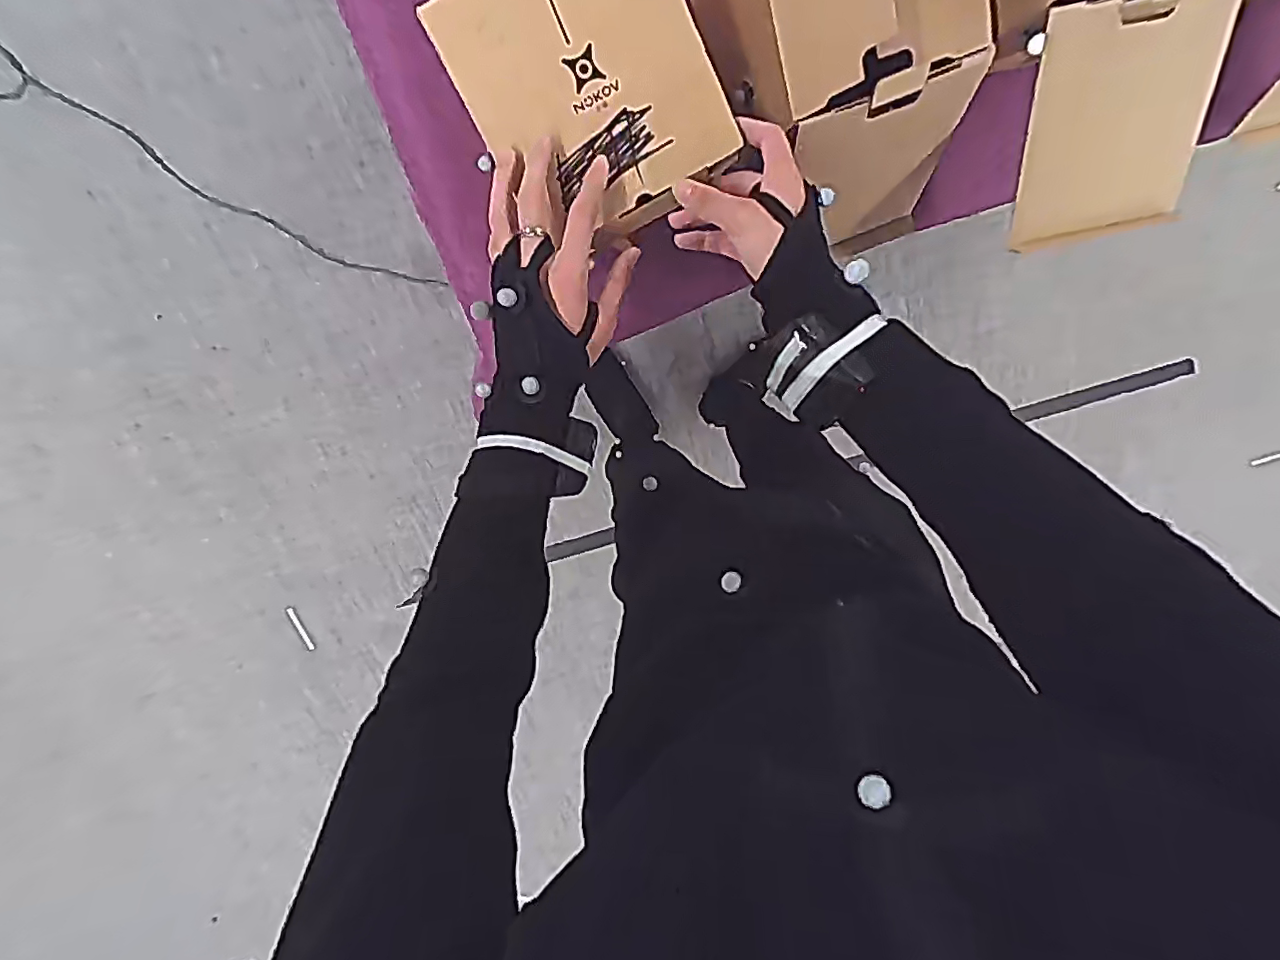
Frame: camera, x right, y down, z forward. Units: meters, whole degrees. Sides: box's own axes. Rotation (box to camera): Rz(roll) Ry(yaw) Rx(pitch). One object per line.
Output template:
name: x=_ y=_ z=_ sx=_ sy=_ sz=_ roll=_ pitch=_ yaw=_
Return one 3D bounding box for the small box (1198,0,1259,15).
small box: x=0.630 y=-0.550 z=0.454 sx=0.168 sy=0.176 sz=0.179 roll=-15 pitch=110 yaw=-1
